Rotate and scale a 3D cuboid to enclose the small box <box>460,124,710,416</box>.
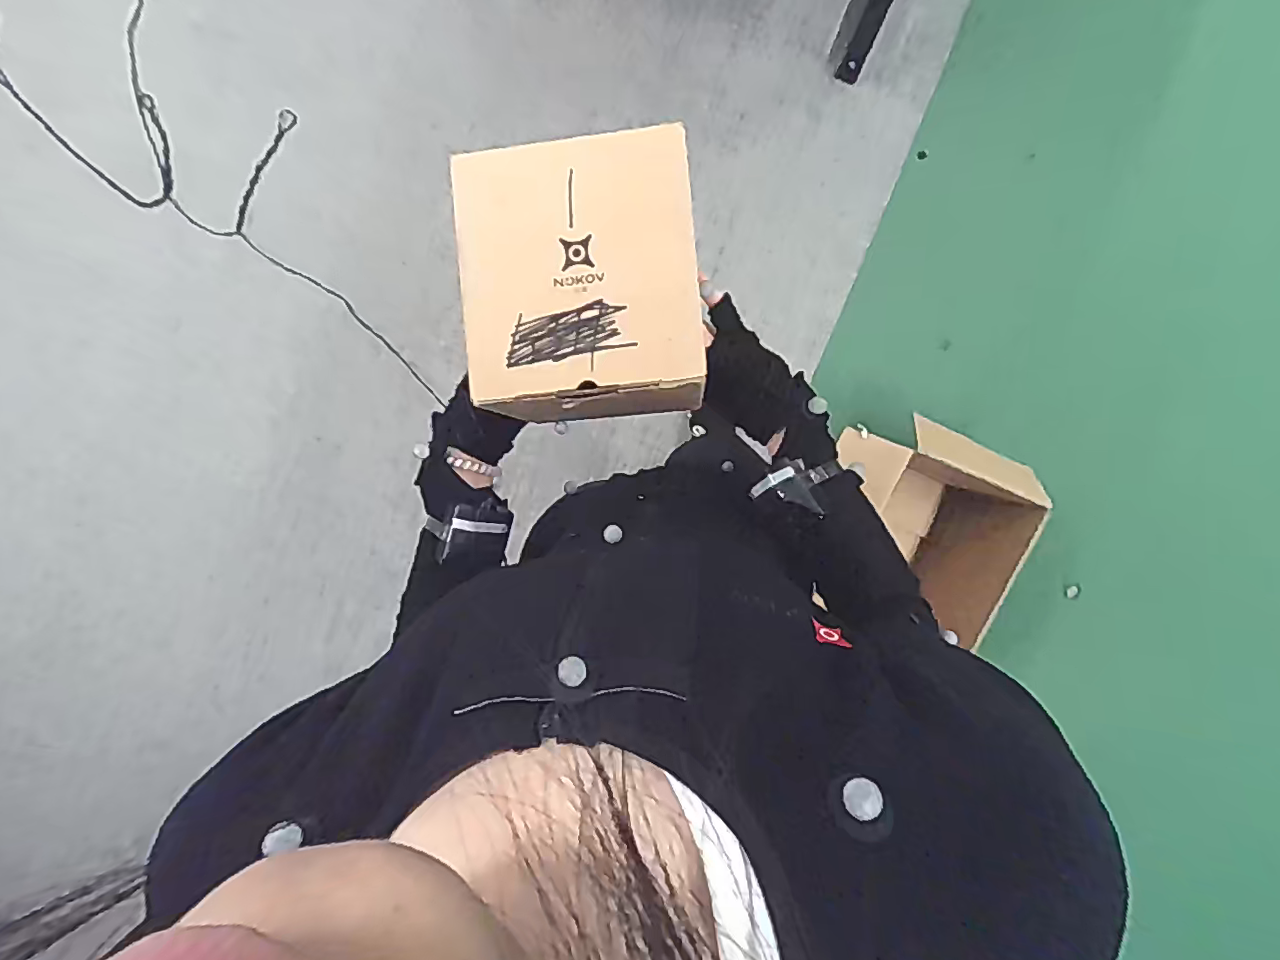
[{"bbox_3d":[-0.032,-0.149,0.450,0.168,0.176,0.179,-5,90,4],"label":"small box"}]
